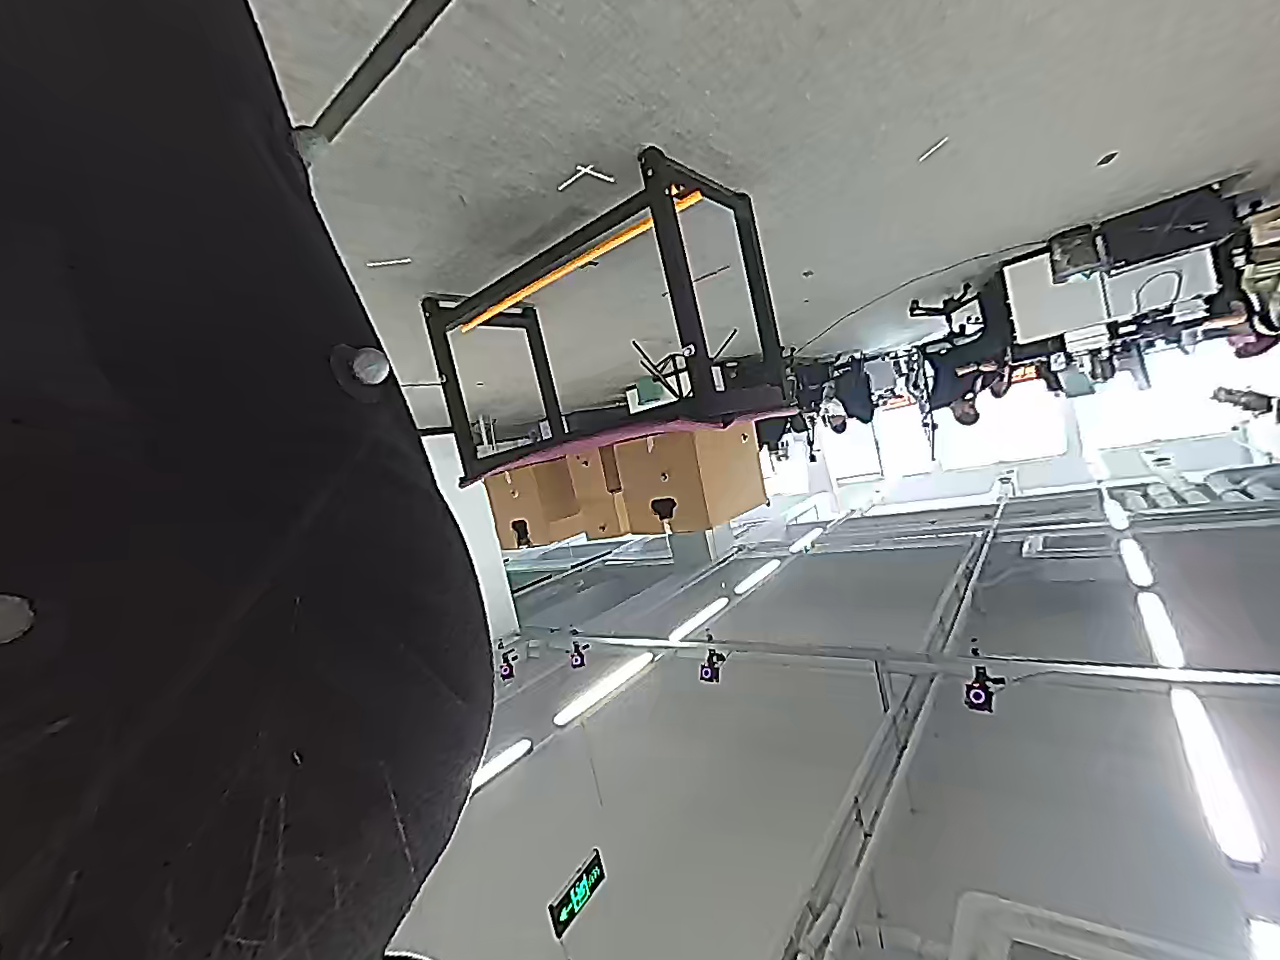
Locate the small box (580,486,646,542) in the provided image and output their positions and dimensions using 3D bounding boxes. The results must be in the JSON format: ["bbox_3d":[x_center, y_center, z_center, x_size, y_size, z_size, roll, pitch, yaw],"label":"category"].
[{"bbox_3d":[-0.104,0.122,2.000,0.179,0.176,0.168,-12,-177,37],"label":"small box"}]

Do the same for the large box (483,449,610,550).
[{"bbox_3d":[-0.366,0.073,2.232,0.320,0.320,0.408,-10,-175,38],"label":"large box"}]
